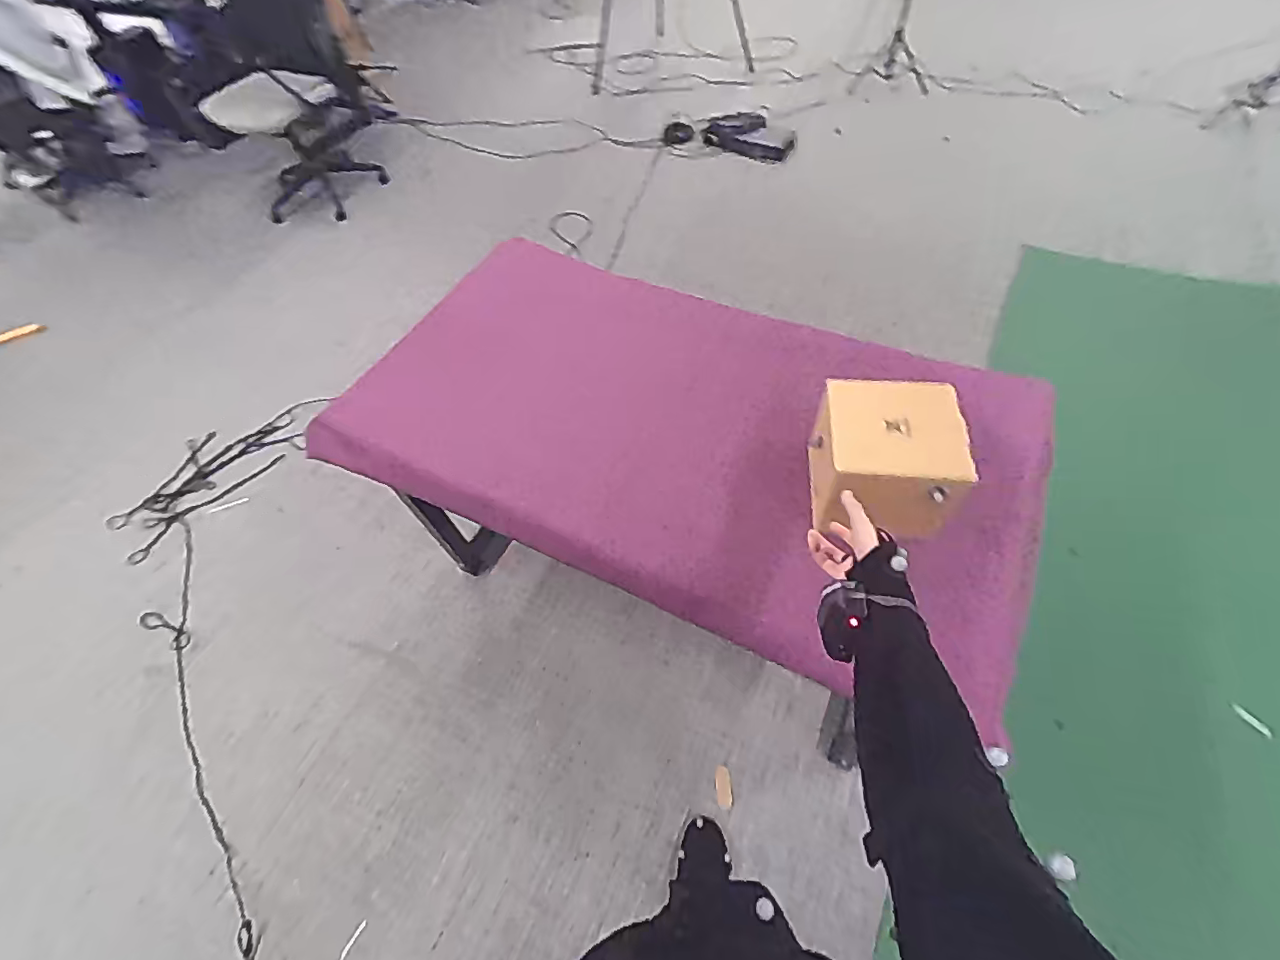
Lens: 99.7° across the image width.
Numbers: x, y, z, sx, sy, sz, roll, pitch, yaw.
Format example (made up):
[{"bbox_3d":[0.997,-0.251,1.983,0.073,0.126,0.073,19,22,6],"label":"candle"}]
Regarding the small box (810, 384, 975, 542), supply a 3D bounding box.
[{"bbox_3d":[0.352,-0.021,0.797,0.179,0.176,0.168,5,56,7],"label":"small box"}]
